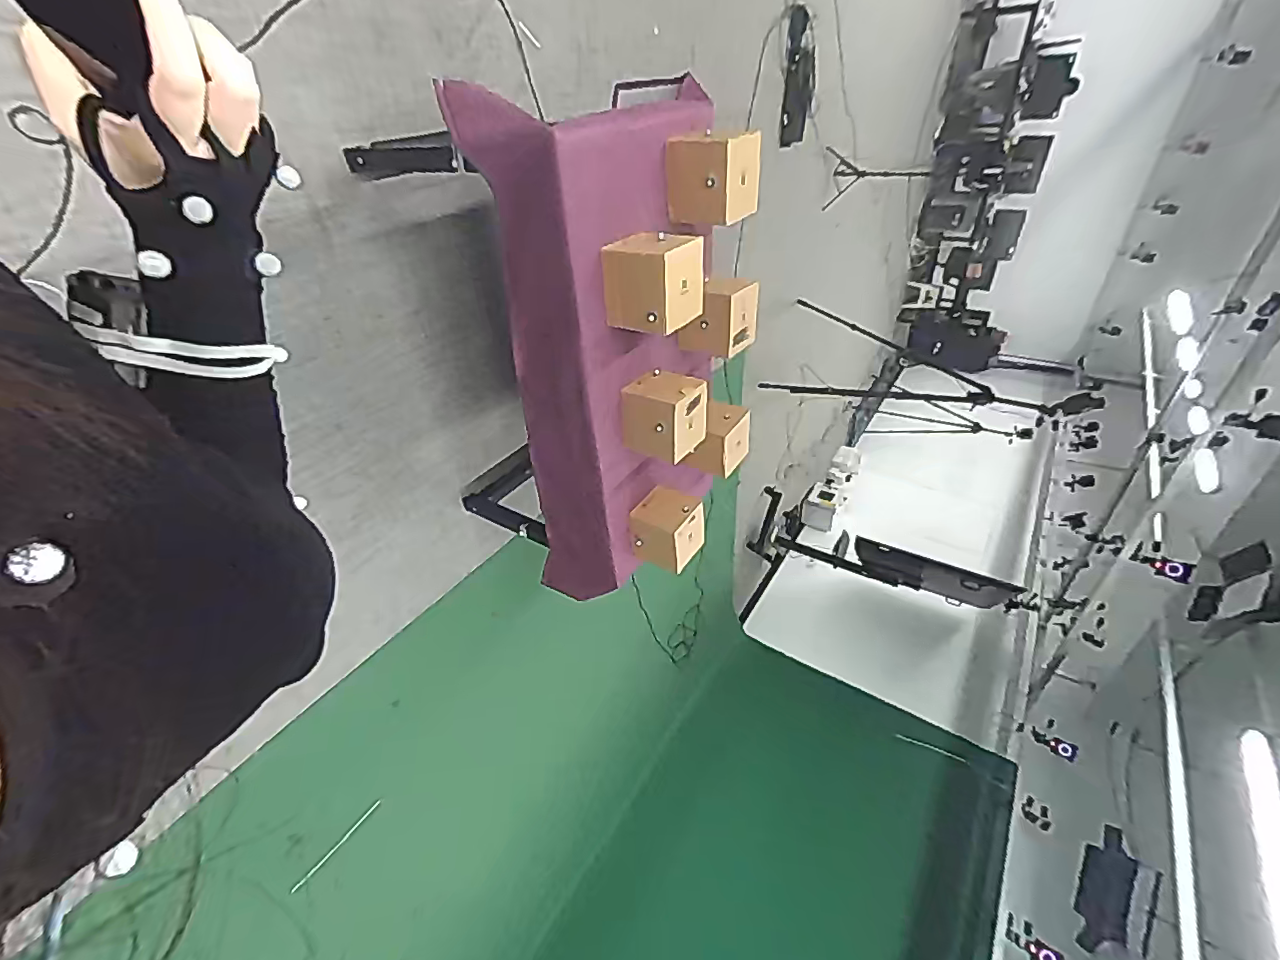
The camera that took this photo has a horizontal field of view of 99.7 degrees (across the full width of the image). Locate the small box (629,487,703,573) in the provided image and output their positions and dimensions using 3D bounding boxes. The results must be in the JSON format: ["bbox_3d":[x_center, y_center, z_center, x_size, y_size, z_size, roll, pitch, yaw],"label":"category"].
[{"bbox_3d":[0.081,0.149,1.667,0.168,0.176,0.179,-44,141,-39],"label":"small box"}]

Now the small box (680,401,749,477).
[{"bbox_3d":[0.241,-0.140,1.768,0.179,0.176,0.168,-45,141,-37],"label":"small box"}]

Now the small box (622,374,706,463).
[{"bbox_3d":[0.063,-0.175,1.450,0.168,0.176,0.179,-40,139,-42],"label":"small box"}]

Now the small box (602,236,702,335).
[{"bbox_3d":[0.027,-0.450,1.233,0.168,0.176,0.179,-42,141,-41],"label":"small box"}]
